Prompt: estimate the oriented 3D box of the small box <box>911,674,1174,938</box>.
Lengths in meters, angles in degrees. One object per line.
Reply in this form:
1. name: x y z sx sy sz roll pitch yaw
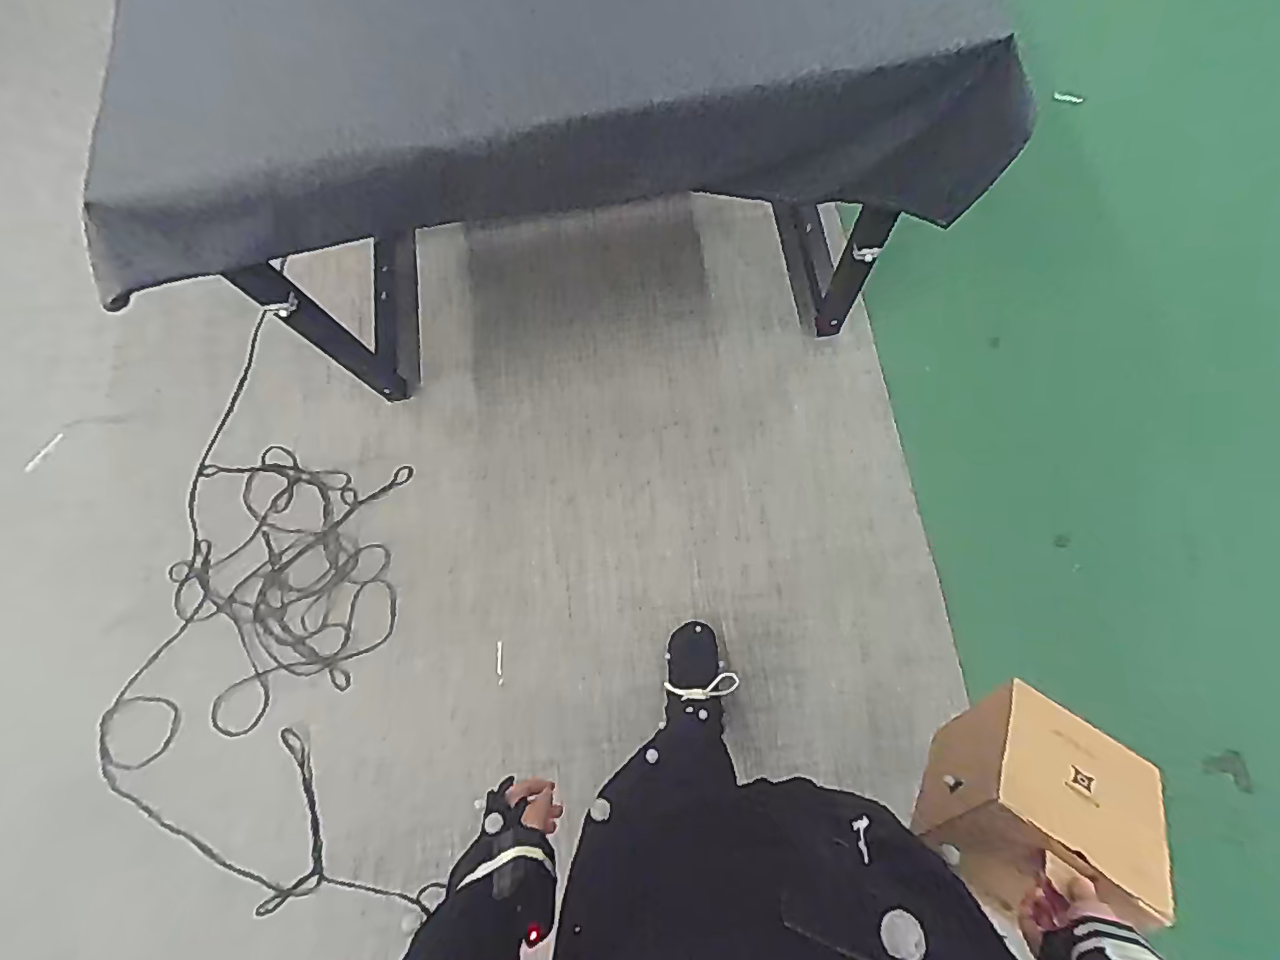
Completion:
1. small box: 0.442 0.371 0.618 0.168 0.176 0.179 34 43 17
